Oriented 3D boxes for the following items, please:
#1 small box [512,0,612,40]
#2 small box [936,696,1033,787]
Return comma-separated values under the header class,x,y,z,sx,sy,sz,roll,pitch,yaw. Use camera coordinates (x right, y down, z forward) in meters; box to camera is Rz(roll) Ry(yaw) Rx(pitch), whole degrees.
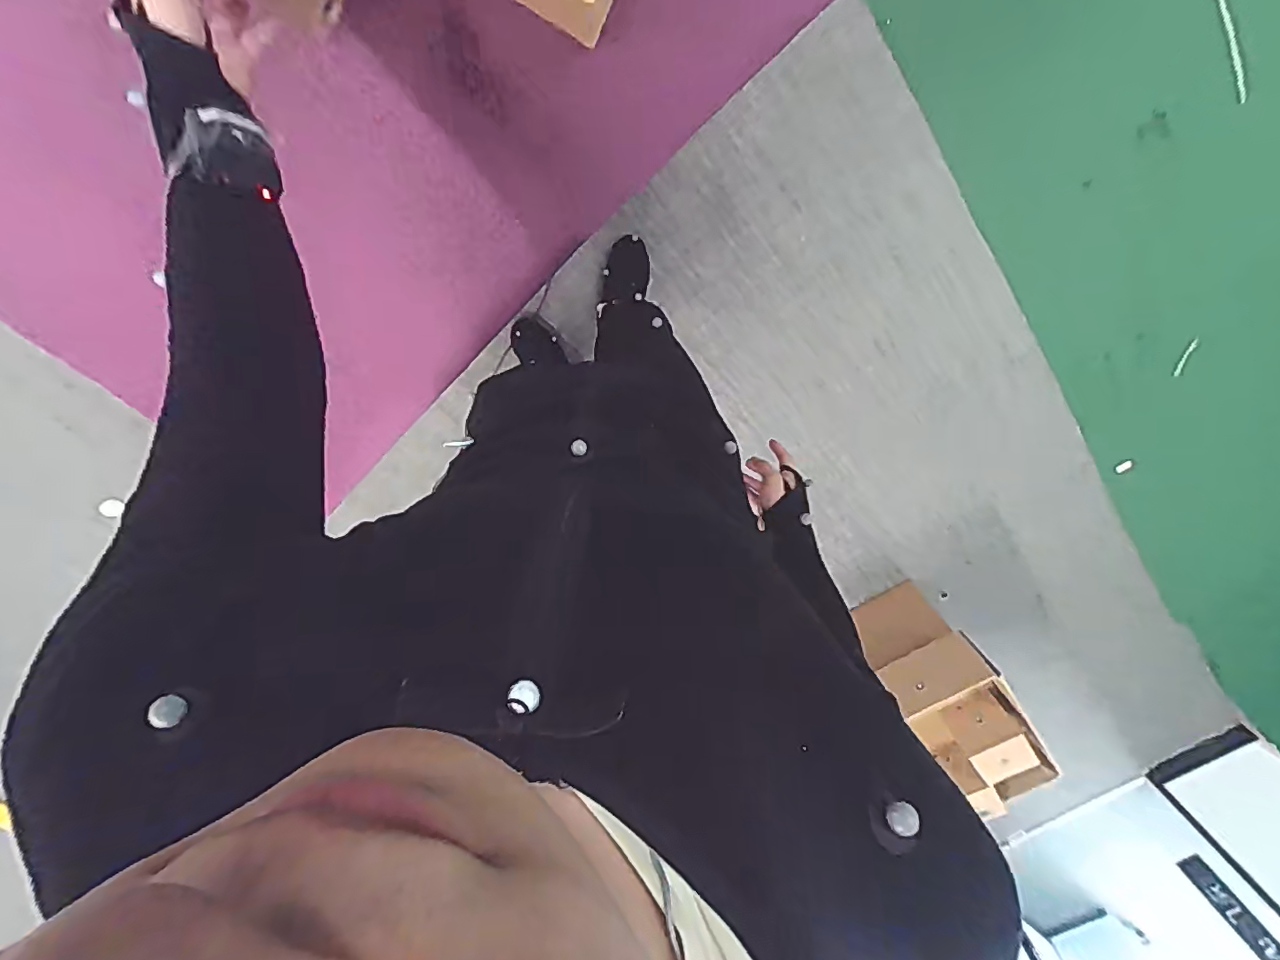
class,x,y,z,sx,sy,sz,roll,pitch,yaw
small box,-0.088,-0.565,0.515,0.179,0.176,0.168,24,113,-16
small box,1.051,0.794,1.662,0.168,0.176,0.179,-34,115,13
